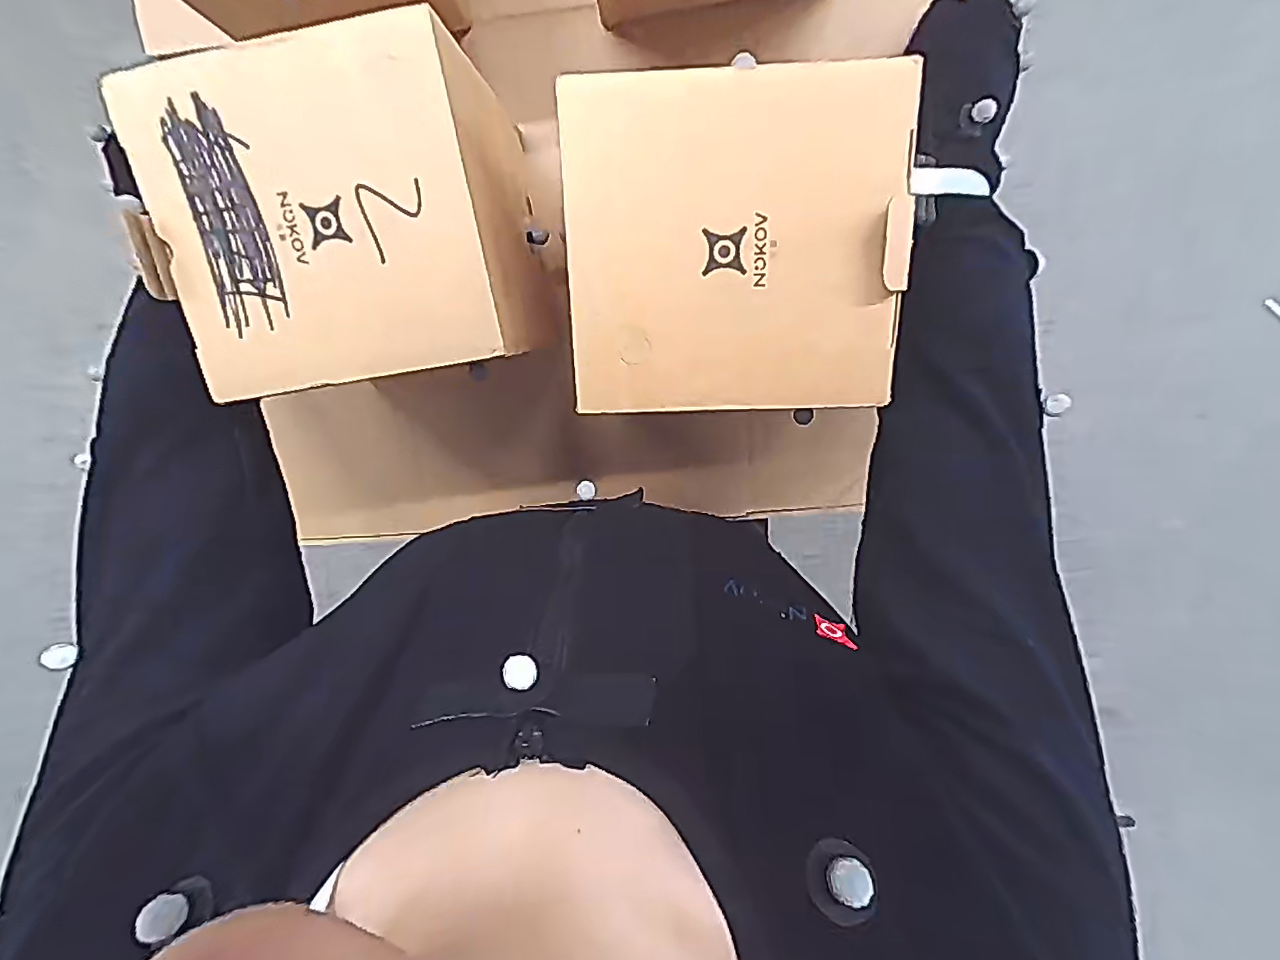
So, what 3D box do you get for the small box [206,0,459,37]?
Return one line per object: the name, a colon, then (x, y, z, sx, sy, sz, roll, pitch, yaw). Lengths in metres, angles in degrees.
small box: (-0.220, -0.395, 0.308, 0.168, 0.176, 0.179, -5, 102, 4)
